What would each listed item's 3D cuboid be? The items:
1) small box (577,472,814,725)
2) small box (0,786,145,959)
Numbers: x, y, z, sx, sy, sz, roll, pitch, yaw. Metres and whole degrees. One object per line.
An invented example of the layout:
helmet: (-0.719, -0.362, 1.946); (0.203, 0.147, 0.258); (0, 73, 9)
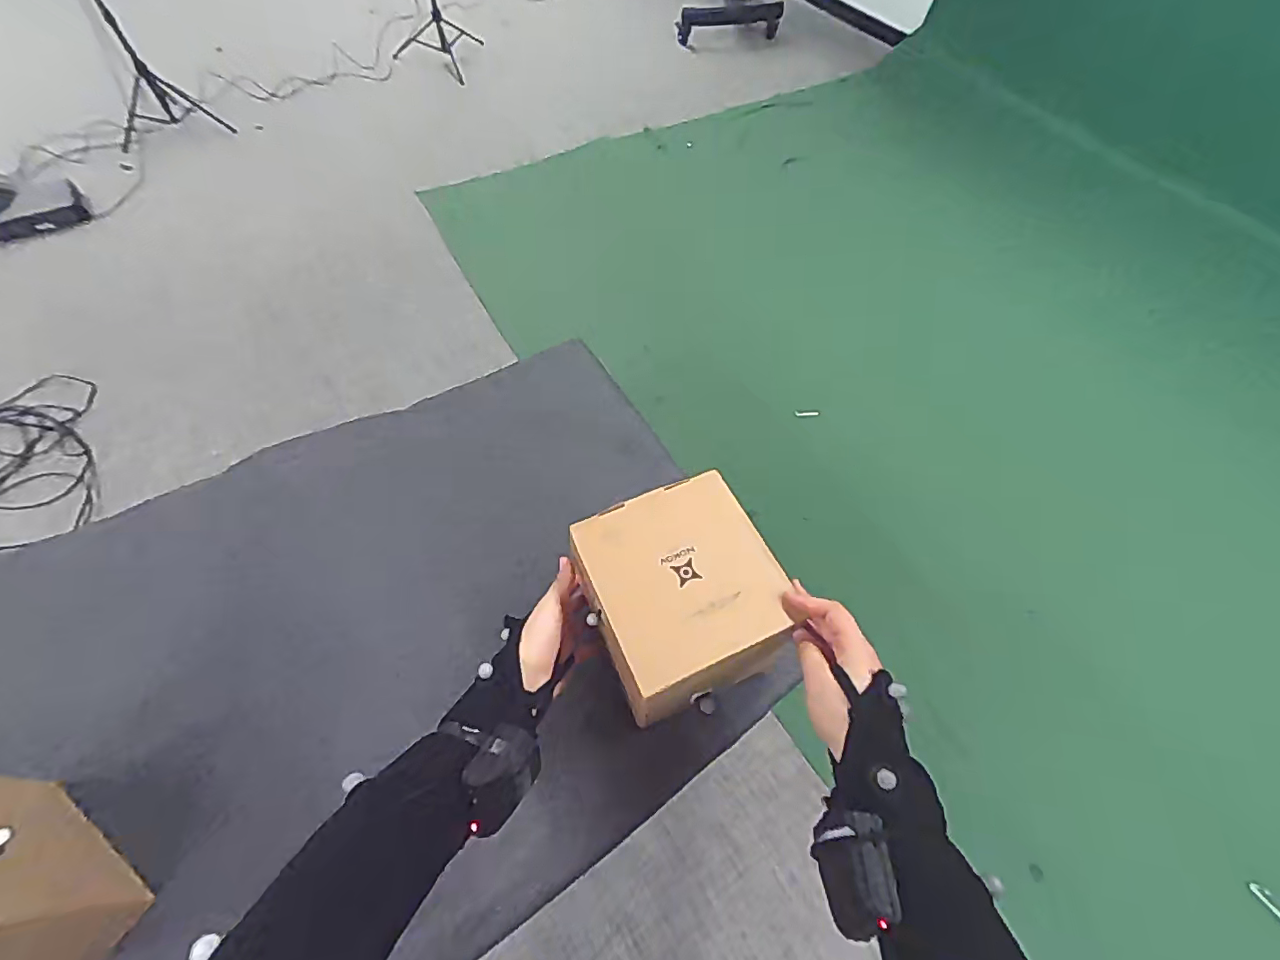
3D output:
small box: (0.044, 0.127, 0.562); (0.168, 0.176, 0.179); (-21, 60, -13)
small box: (-0.555, 0.358, 0.415); (0.179, 0.176, 0.168); (30, 61, 15)
